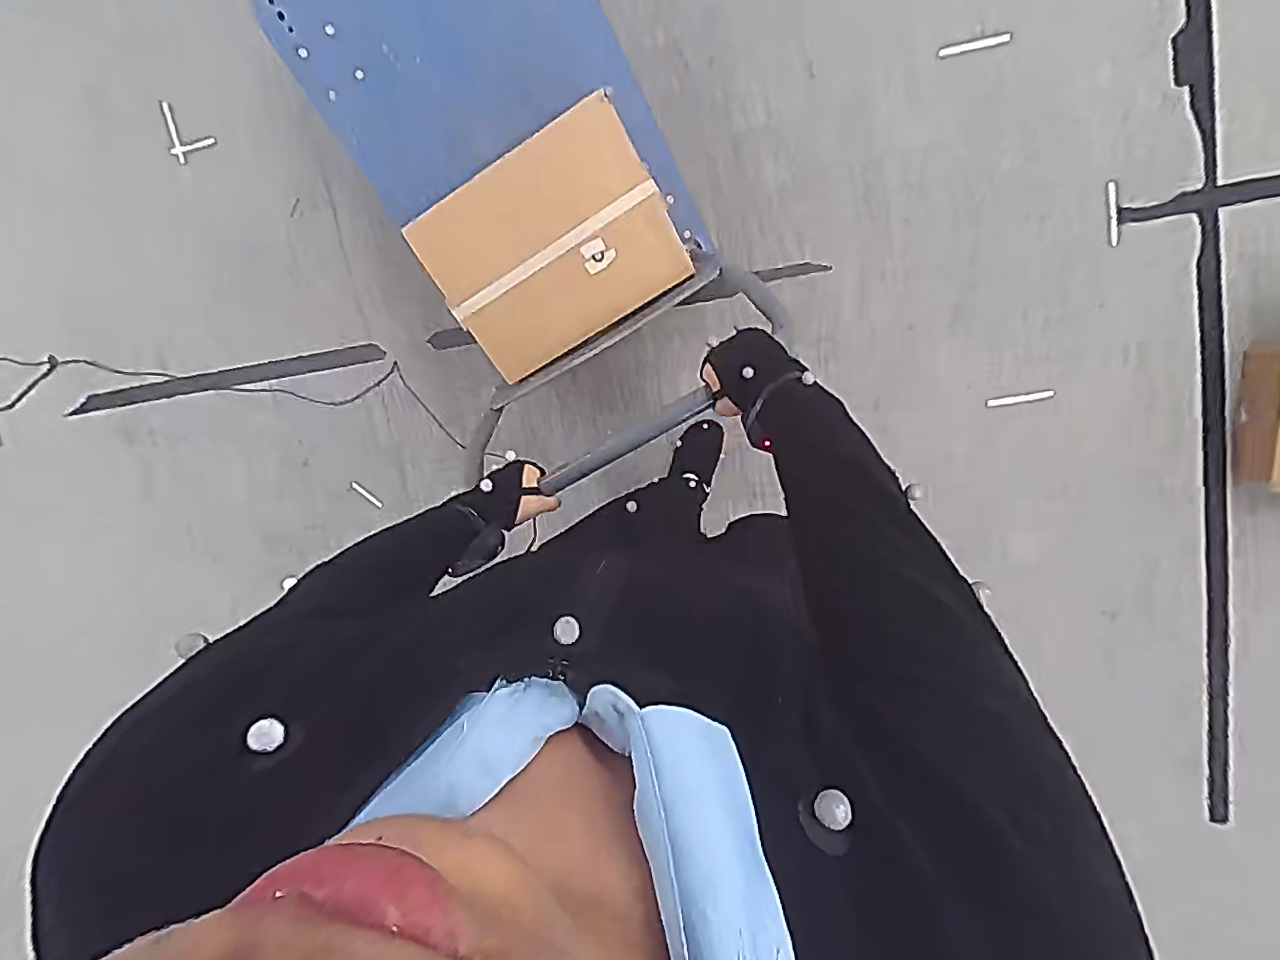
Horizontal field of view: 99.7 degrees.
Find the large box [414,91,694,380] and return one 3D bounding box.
[{"bbox_3d":[-0.154,-0.461,1.081,0.408,0.320,0.320,-30,113,10],"label":"large box"}]
